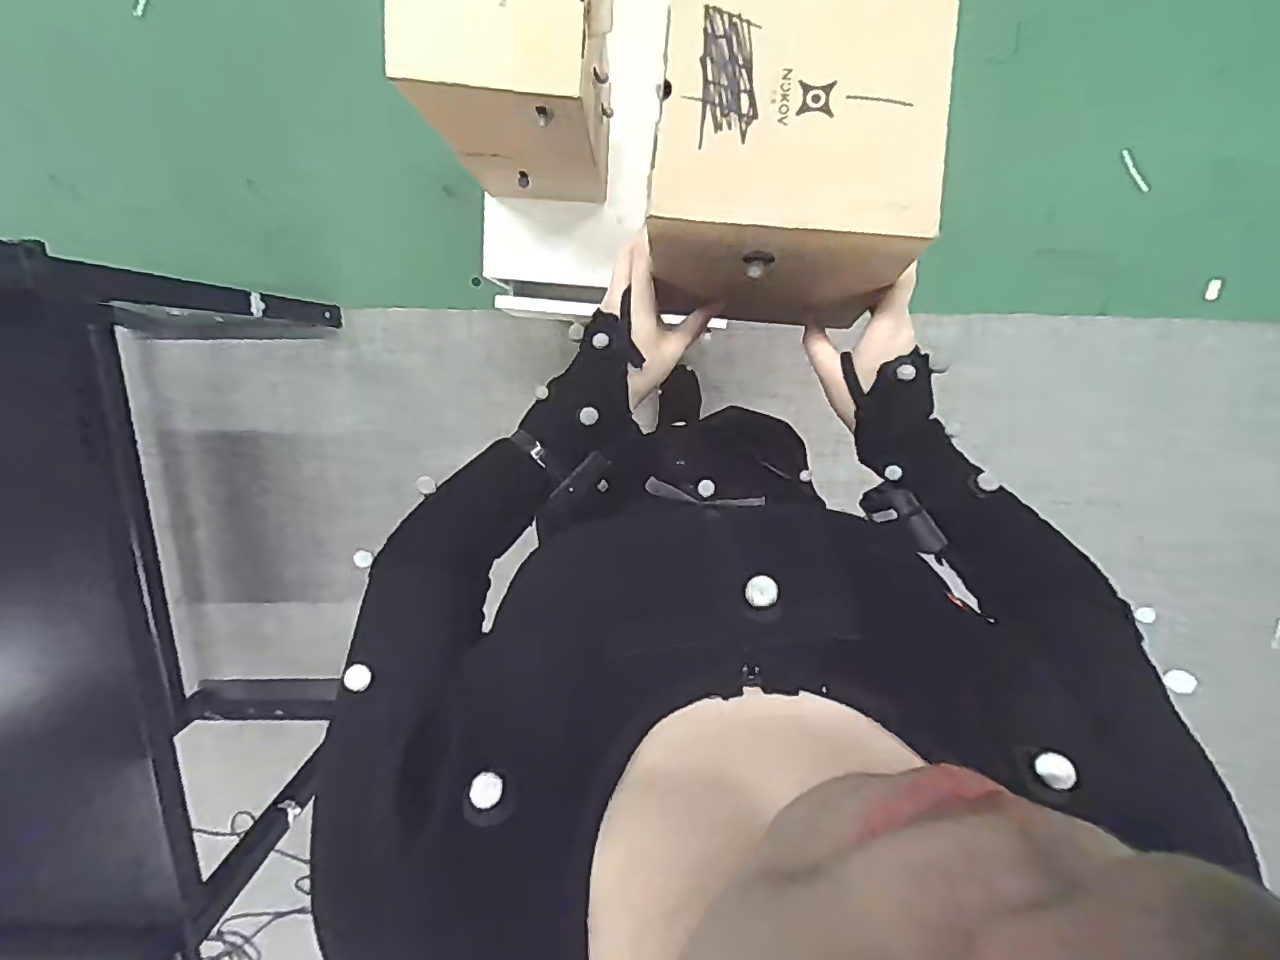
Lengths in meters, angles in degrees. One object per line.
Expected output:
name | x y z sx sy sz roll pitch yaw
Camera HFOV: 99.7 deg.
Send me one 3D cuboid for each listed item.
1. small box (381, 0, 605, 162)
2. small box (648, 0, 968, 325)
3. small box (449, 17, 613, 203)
small box | -0.131 -0.436 0.532 0.179 0.176 0.168 4 102 -2
small box | 0.105 -0.224 0.399 0.179 0.176 0.168 6 88 4
small box | -0.130 -0.468 0.692 0.179 0.176 0.168 3 102 0
